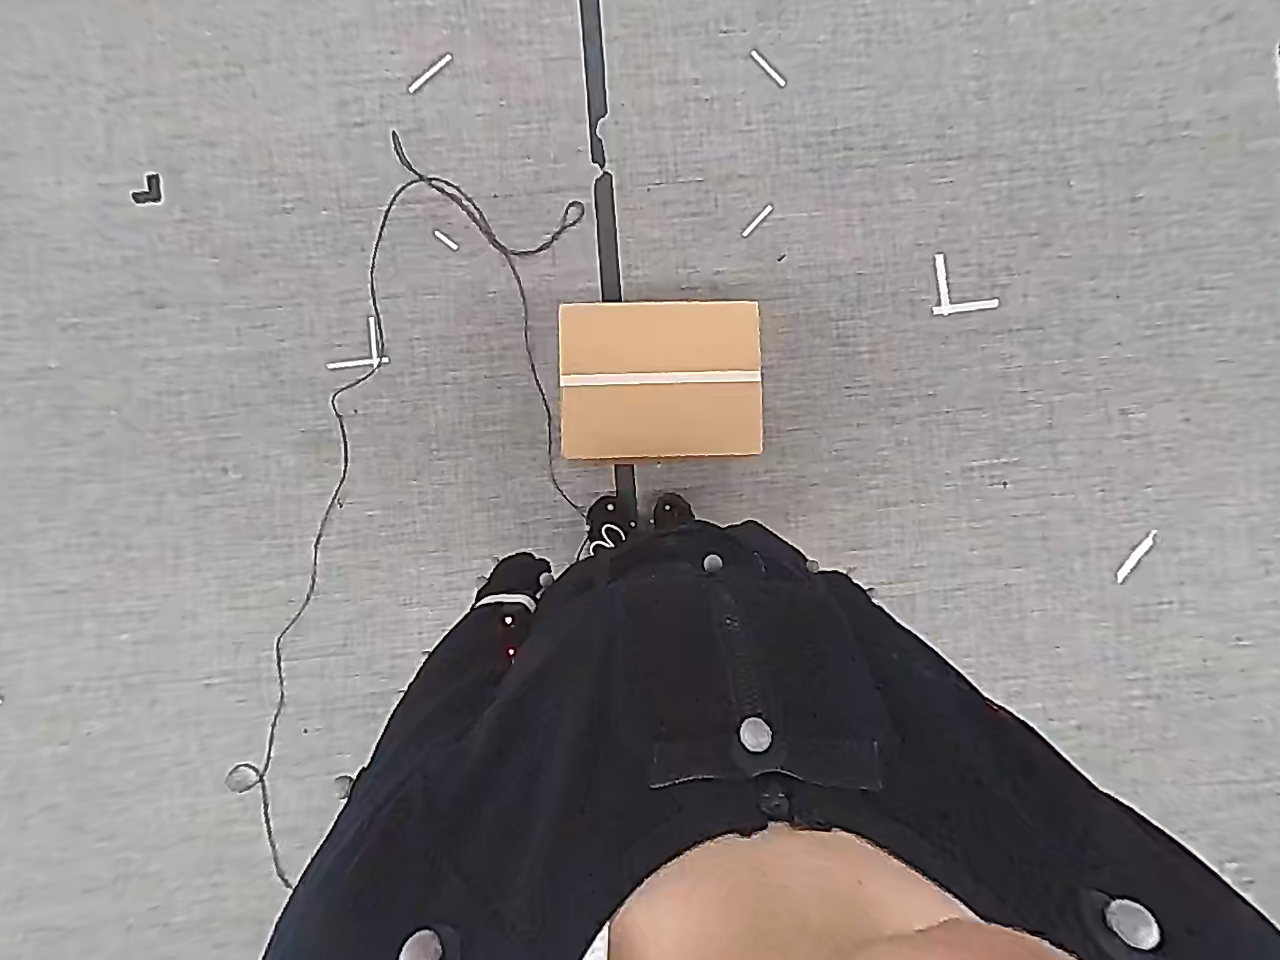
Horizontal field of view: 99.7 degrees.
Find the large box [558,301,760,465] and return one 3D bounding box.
[{"bbox_3d":[0.033,-0.201,1.238,0.408,0.320,0.320,-2,90,-2],"label":"large box"}]
